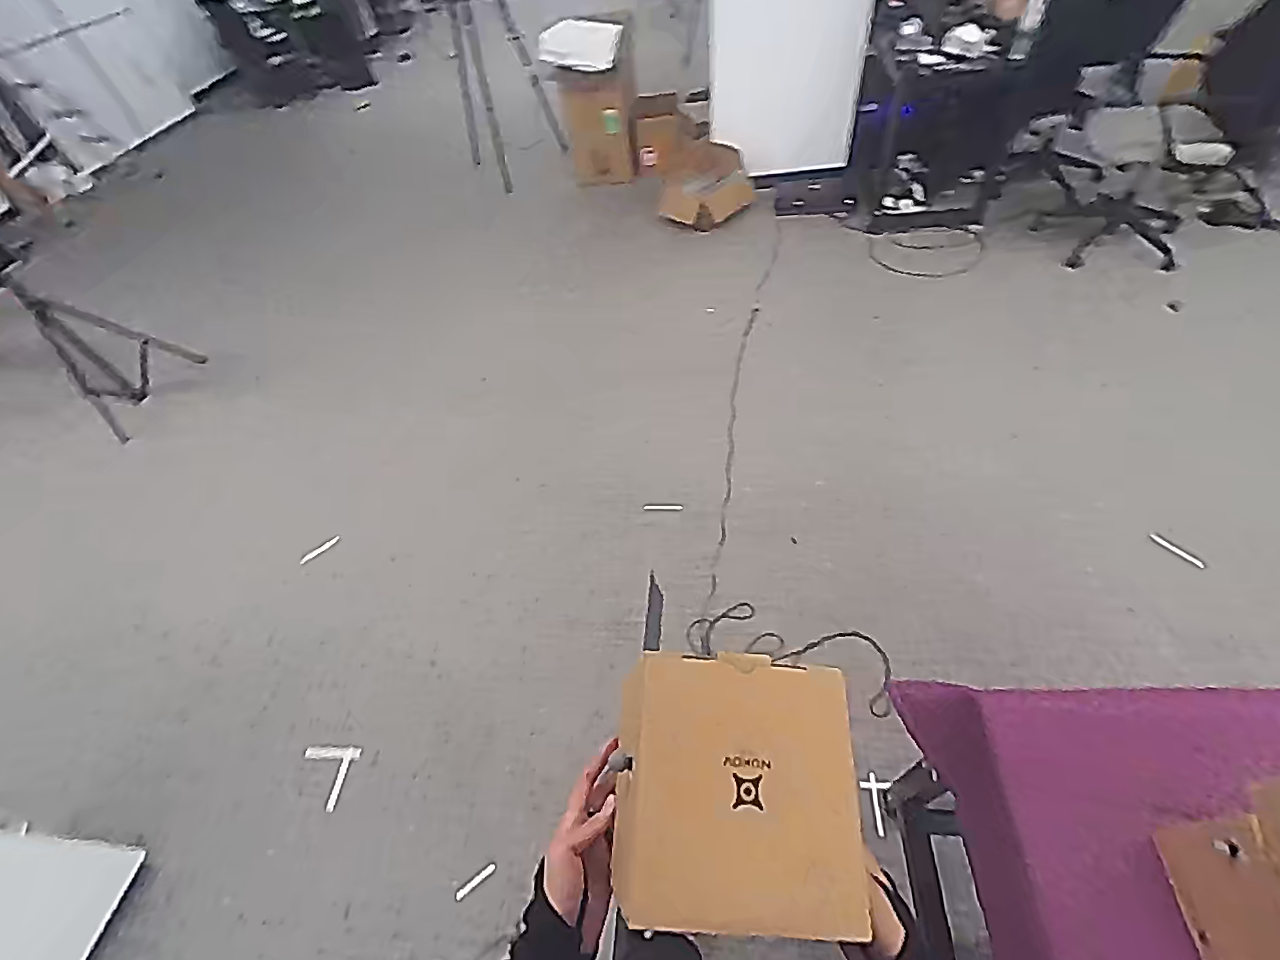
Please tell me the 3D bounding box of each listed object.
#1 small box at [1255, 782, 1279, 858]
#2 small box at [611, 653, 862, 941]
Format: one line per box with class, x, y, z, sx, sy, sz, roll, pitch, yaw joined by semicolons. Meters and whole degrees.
small box;0.696;0.350;0.448;0.168;0.176;0.179;5;52;13
small box;0.066;0.261;0.466;0.168;0.176;0.179;6;60;-4
